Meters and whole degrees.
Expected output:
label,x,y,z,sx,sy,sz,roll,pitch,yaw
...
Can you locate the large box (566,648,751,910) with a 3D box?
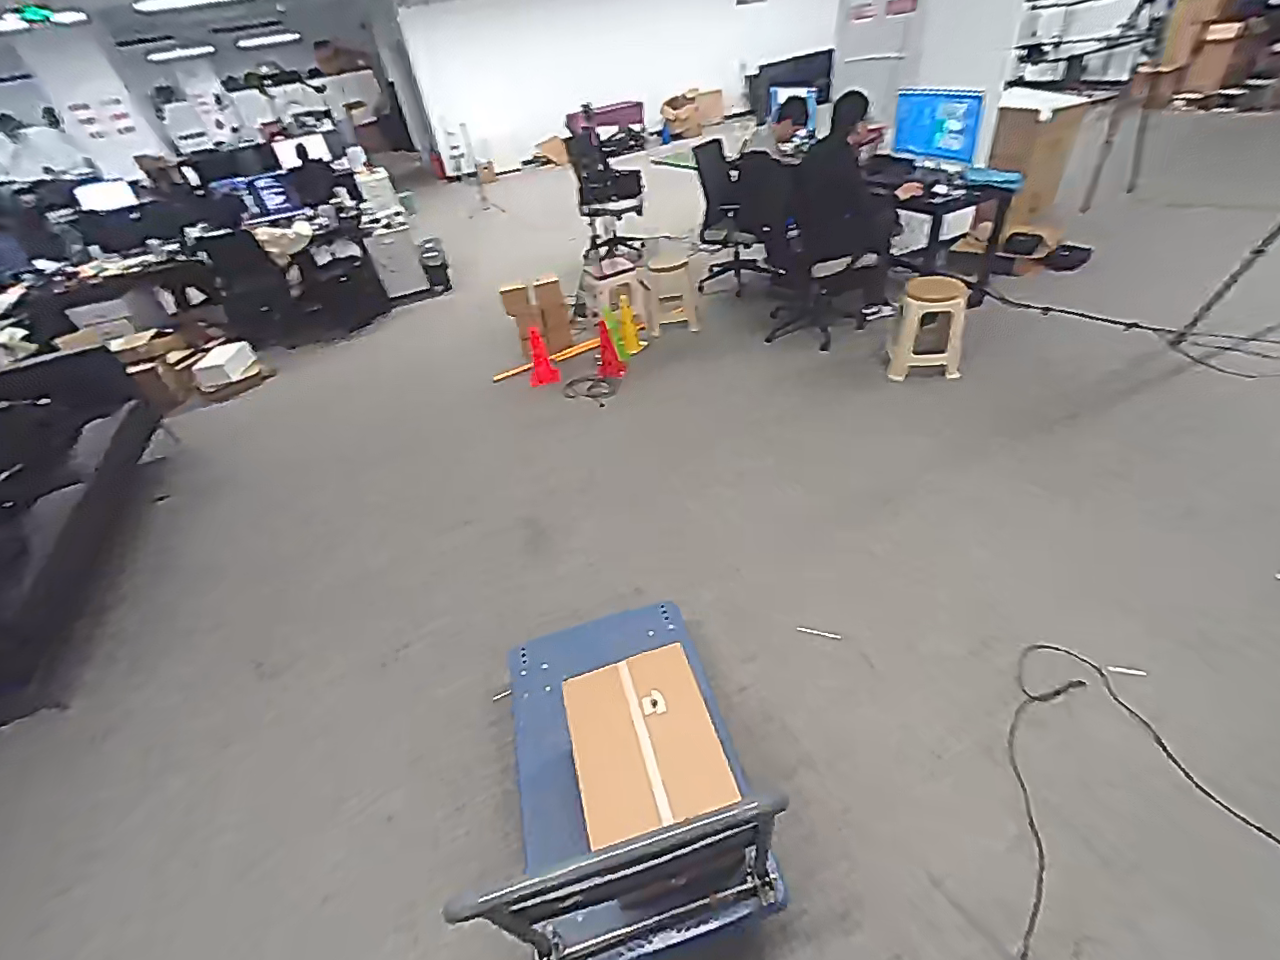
label,x,y,z,sx,sy,sz,roll,pitch,yaw
large box,0.038,0.692,1.282,0.320,0.320,0.408,-15,39,-7
